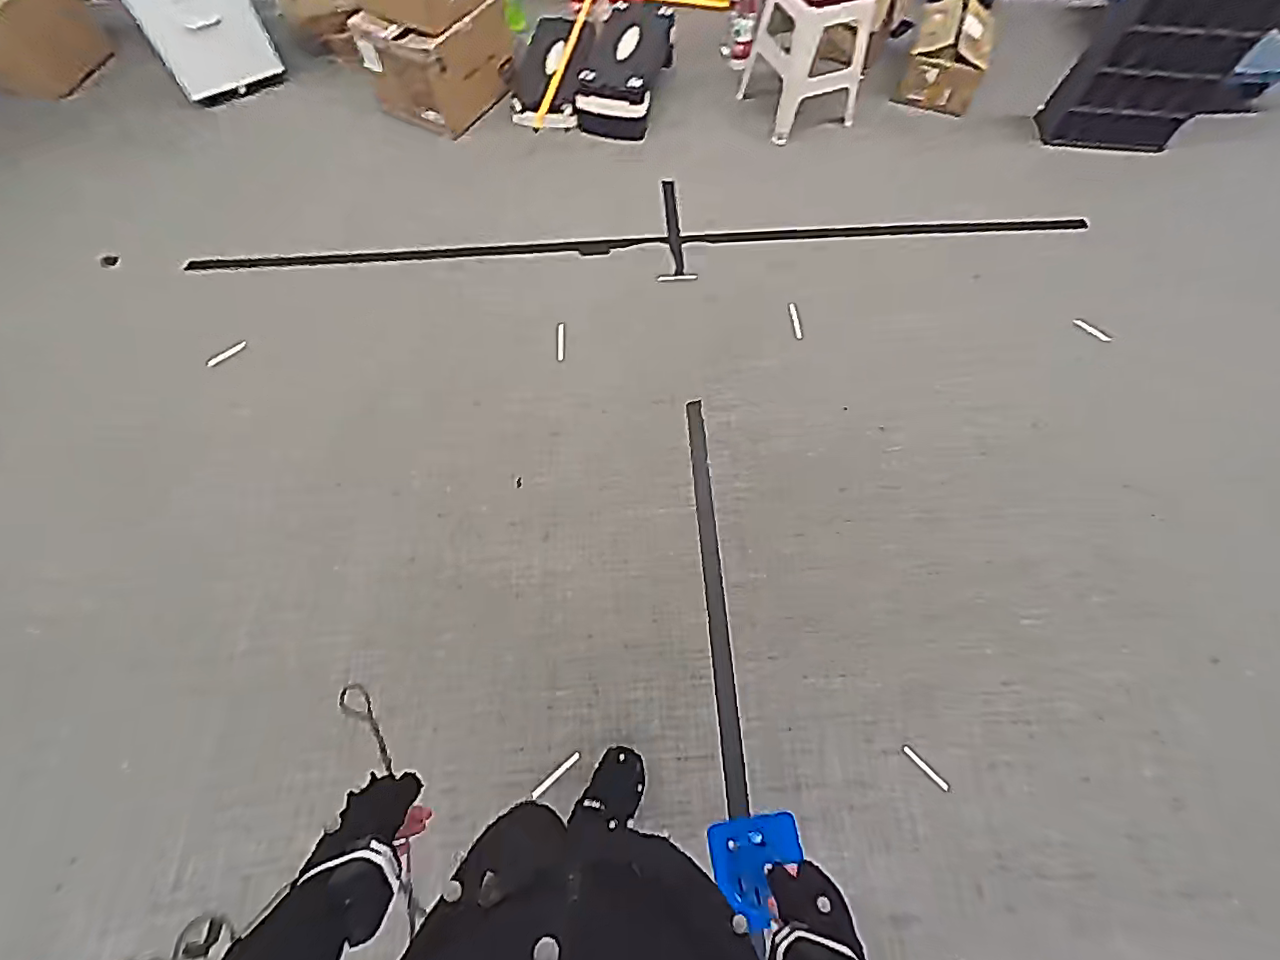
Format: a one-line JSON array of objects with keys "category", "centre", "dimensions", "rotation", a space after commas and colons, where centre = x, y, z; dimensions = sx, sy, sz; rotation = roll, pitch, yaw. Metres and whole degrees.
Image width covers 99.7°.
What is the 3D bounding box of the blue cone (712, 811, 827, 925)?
[{"category": "blue cone", "centre": [0.262, 0.763, 1.017], "dimensions": [0.192, 0.380, 0.193], "rotation": [-5, 64, -5]}]
